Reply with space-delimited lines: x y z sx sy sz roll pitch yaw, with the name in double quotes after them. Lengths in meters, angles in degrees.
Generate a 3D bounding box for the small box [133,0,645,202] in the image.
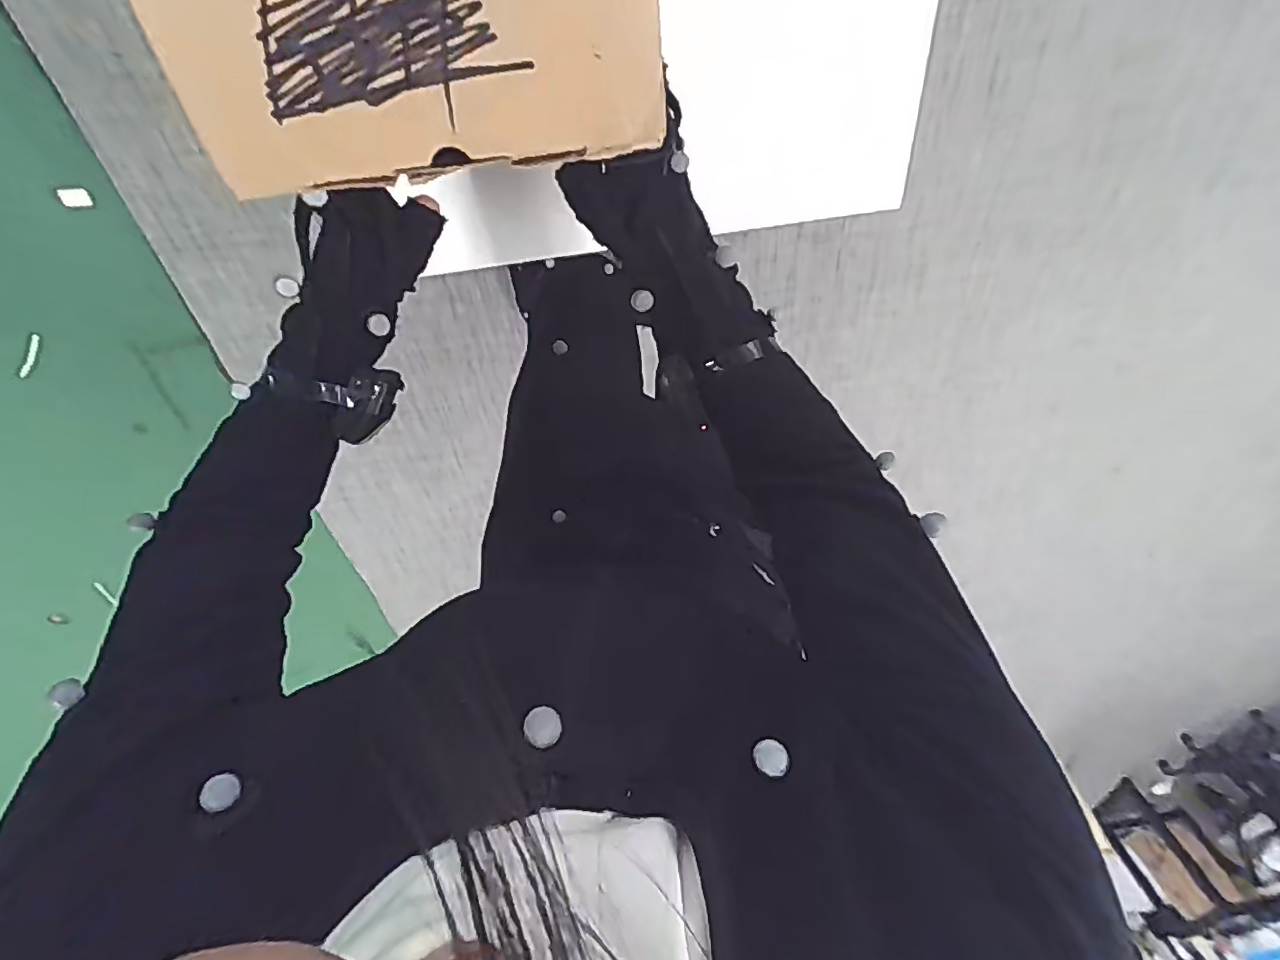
-0.092 -0.234 0.223 0.168 0.176 0.179 -8 127 -2 "small box"
